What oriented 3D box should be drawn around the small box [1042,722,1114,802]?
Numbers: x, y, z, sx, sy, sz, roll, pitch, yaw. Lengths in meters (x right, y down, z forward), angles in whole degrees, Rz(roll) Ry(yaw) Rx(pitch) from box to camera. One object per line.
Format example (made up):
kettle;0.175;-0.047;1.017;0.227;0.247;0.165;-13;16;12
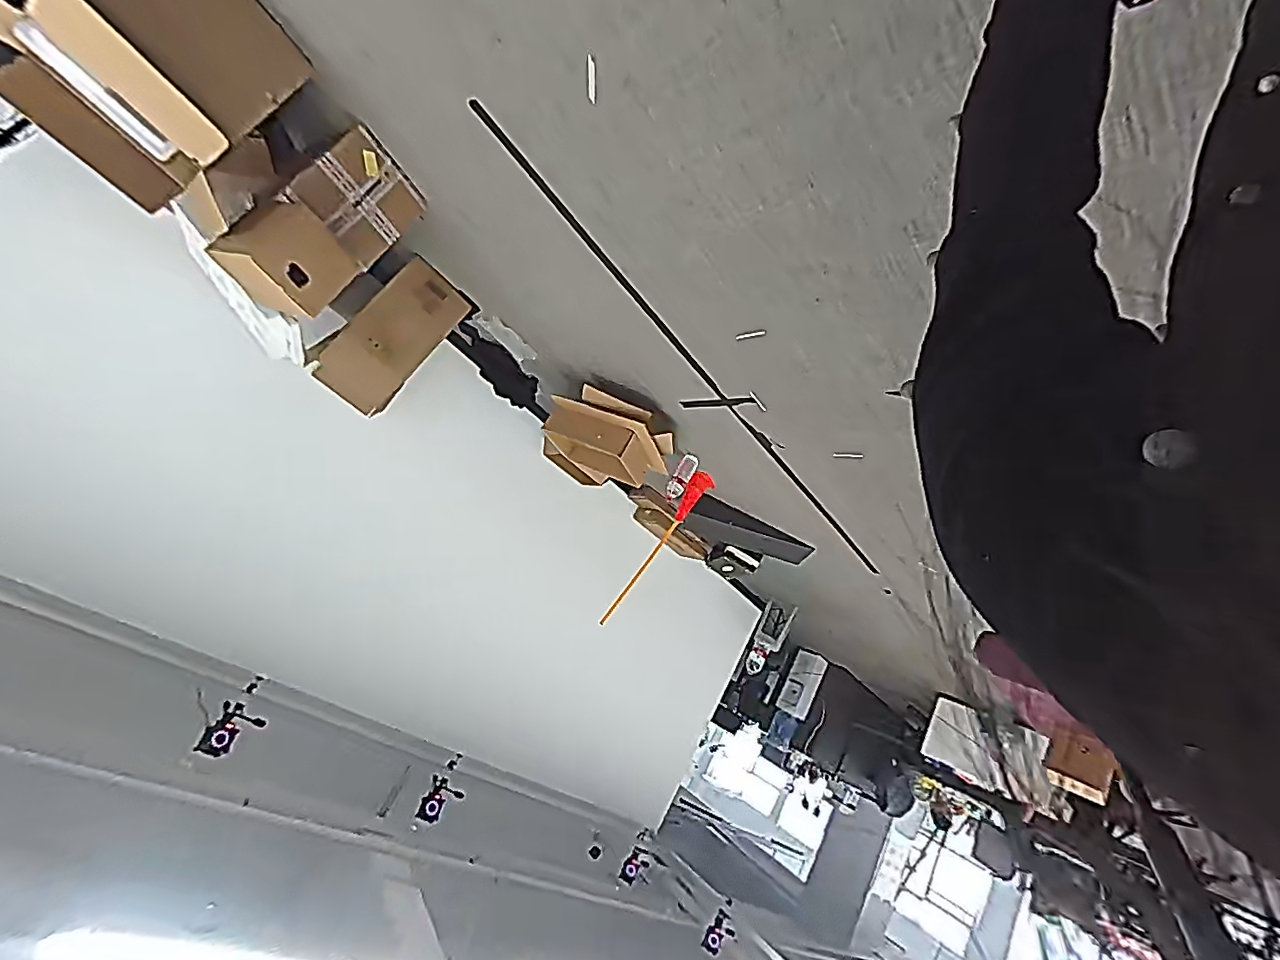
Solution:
small box;1.566;1.001;1.929;0.168;0.176;0.179;9;148;49
